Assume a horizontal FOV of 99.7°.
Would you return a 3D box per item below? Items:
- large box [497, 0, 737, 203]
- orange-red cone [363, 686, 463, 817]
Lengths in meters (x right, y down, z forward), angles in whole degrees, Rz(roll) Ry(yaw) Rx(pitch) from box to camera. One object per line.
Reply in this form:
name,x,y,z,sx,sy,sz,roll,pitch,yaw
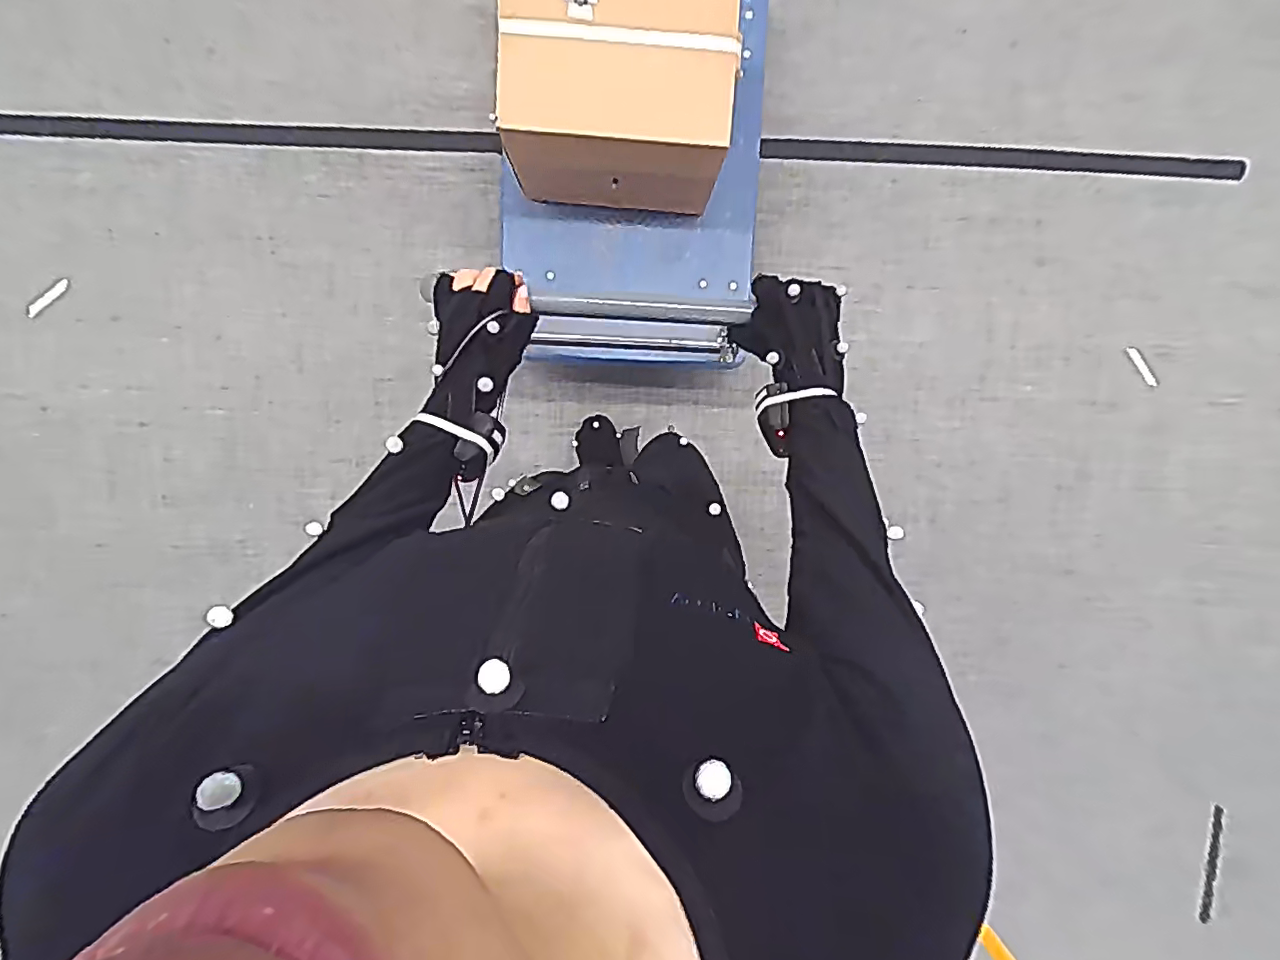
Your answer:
large box,-0.040,-0.764,1.056,0.408,0.320,0.320,3,96,-2
orange-red cone,-0.598,0.700,1.355,0.198,0.360,0.199,9,95,-4
